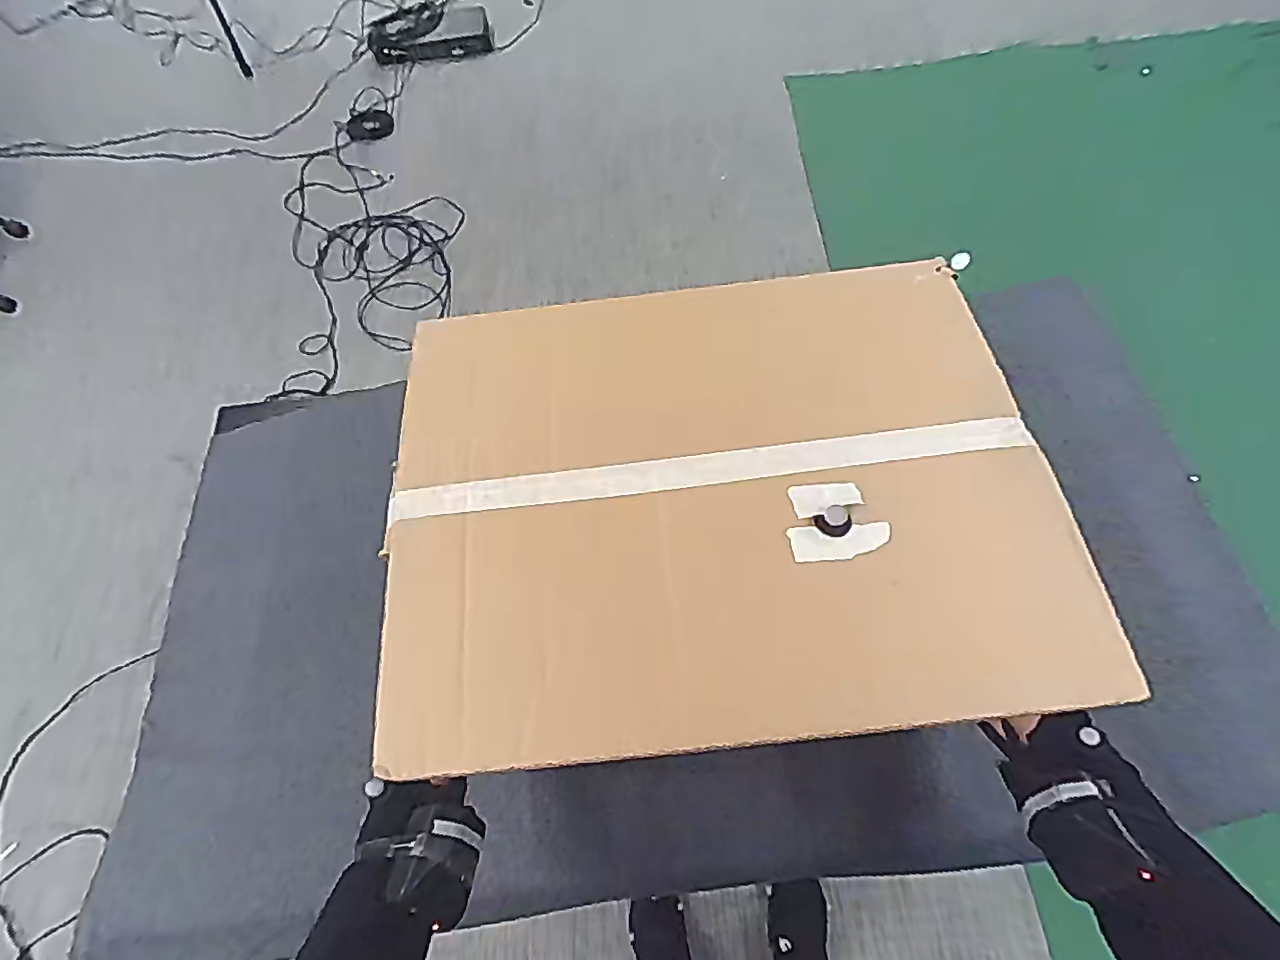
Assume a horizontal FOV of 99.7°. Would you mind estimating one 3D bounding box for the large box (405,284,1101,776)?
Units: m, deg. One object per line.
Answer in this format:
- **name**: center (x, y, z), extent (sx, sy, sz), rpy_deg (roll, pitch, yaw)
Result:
- **large box**: center (0.054, 0.068, 0.499), extent (0.408, 0.320, 0.320), rpy_deg (-7, 65, 1)
